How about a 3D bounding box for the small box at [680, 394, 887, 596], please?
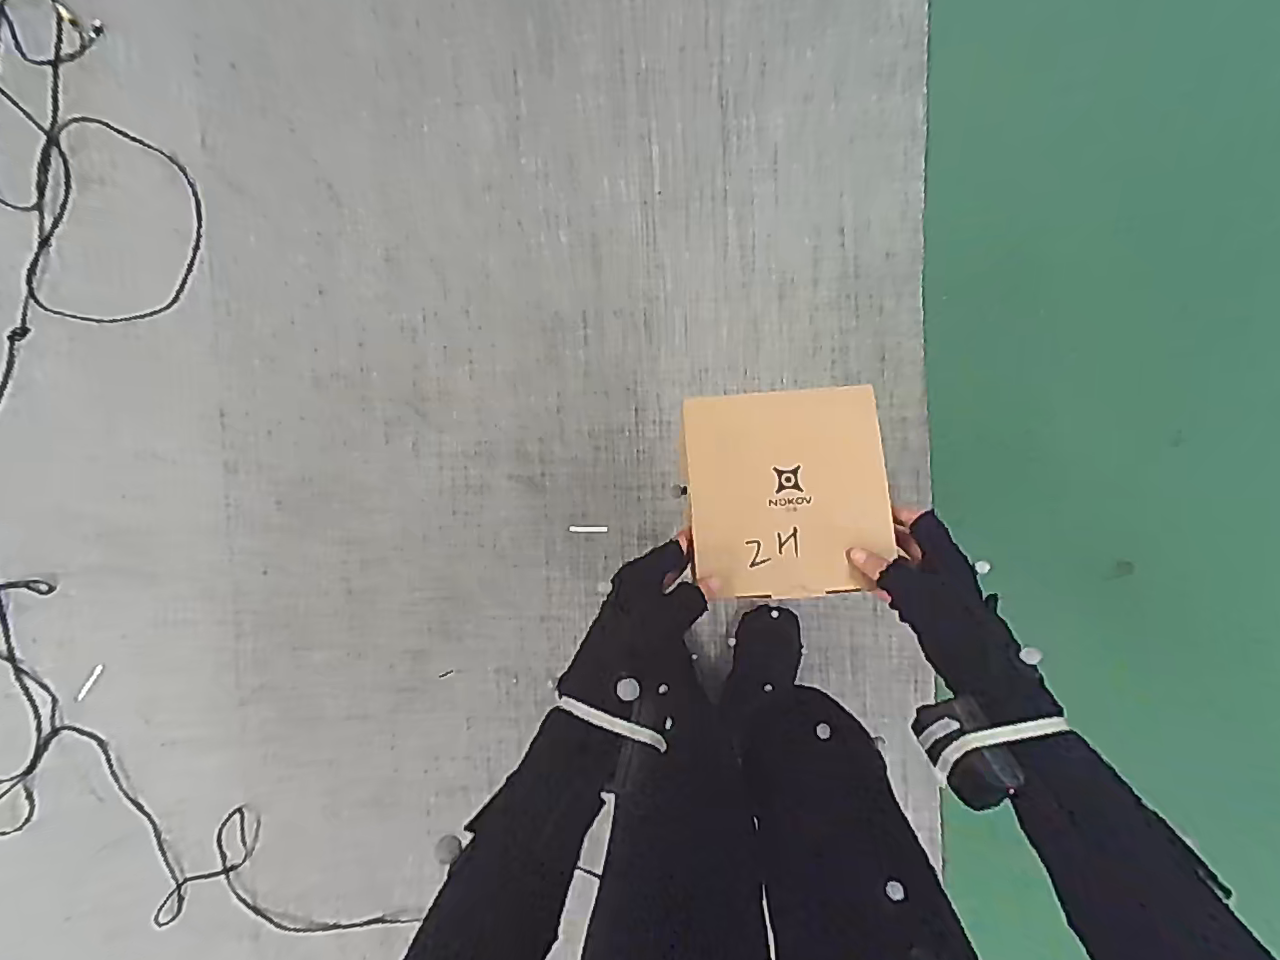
[{"bbox_3d":[0.127,0.026,0.549,0.168,0.176,0.179,-3,80,3],"label":"small box"}]
